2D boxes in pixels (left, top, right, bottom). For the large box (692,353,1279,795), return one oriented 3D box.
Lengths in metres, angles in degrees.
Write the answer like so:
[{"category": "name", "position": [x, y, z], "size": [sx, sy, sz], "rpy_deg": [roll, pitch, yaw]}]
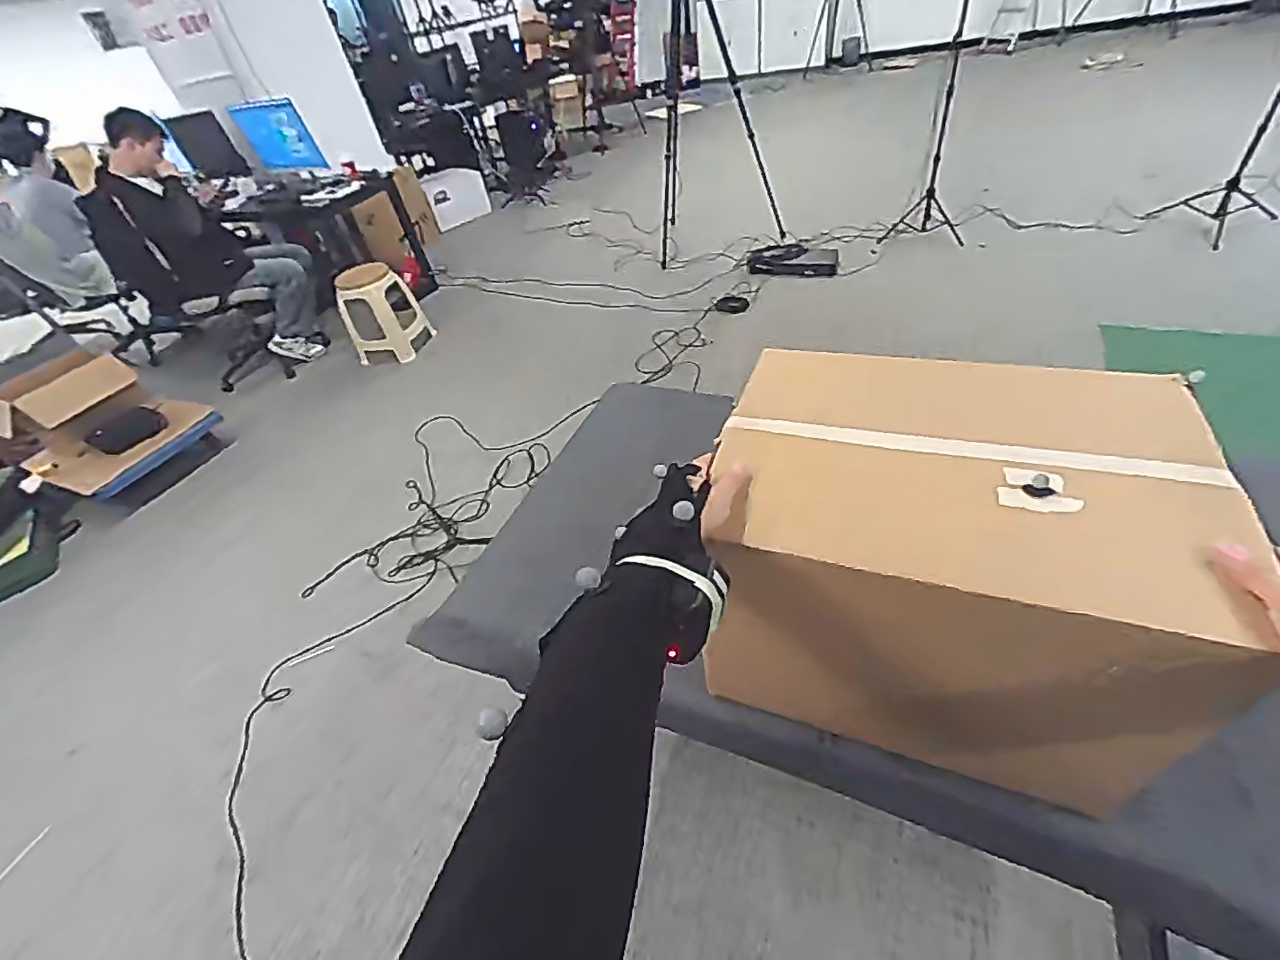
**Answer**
[{"category": "large box", "position": [0.298, 0.080, 0.606], "size": [0.408, 0.320, 0.320], "rpy_deg": [10, 47, 21]}]
